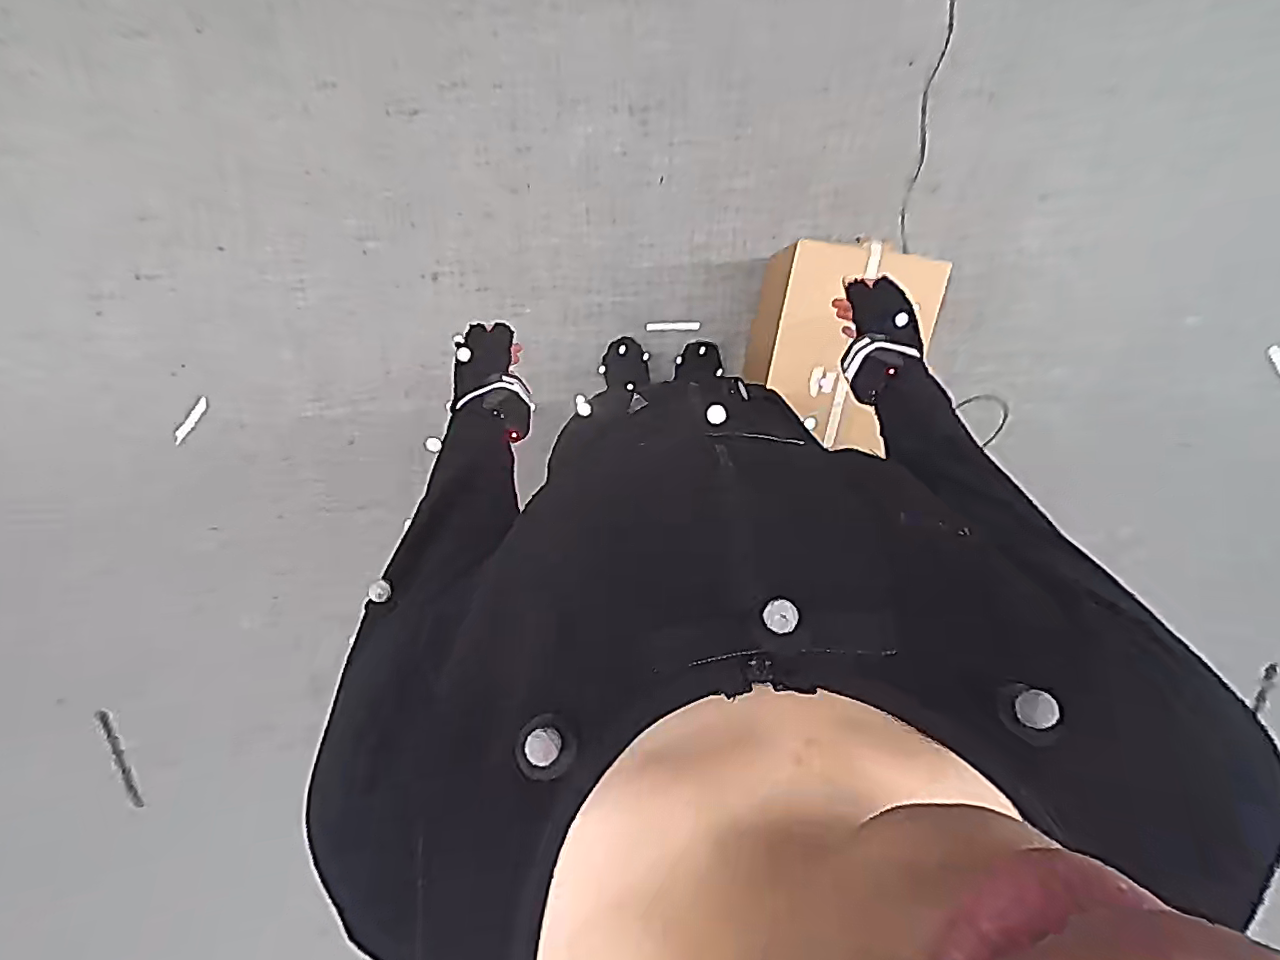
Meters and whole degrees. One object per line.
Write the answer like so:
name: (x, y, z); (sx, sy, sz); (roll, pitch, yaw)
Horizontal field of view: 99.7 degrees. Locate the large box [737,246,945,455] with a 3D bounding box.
large box: (0.441, -0.307, 1.283); (0.320, 0.320, 0.408); (9, 107, -2)
